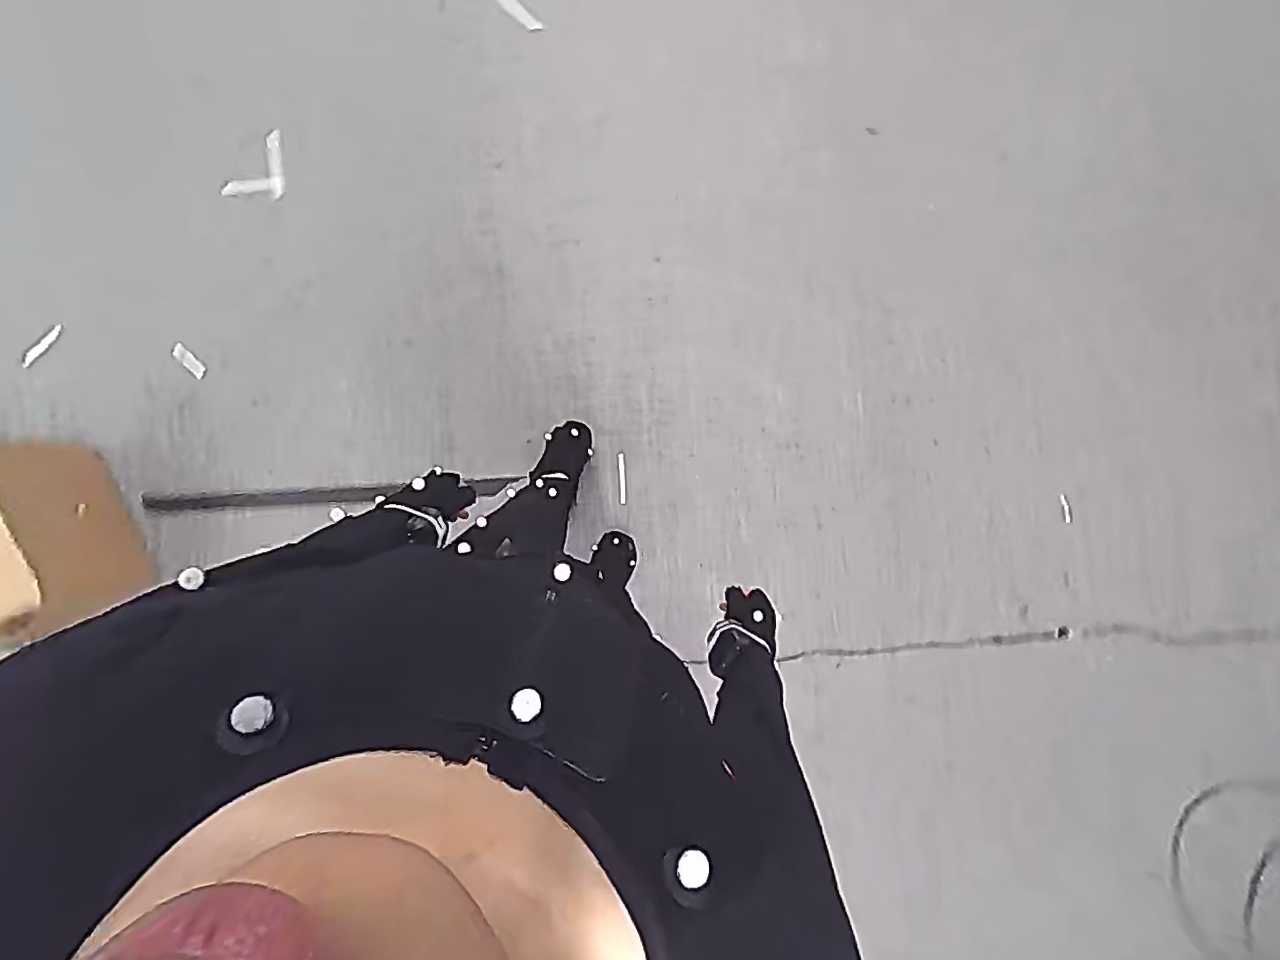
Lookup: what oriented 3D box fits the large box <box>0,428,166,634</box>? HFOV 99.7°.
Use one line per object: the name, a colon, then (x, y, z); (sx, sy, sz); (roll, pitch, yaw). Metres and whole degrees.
large box: (-1.501, 0.125, 1.313); (0.320, 0.320, 0.408); (-27, 90, -2)
